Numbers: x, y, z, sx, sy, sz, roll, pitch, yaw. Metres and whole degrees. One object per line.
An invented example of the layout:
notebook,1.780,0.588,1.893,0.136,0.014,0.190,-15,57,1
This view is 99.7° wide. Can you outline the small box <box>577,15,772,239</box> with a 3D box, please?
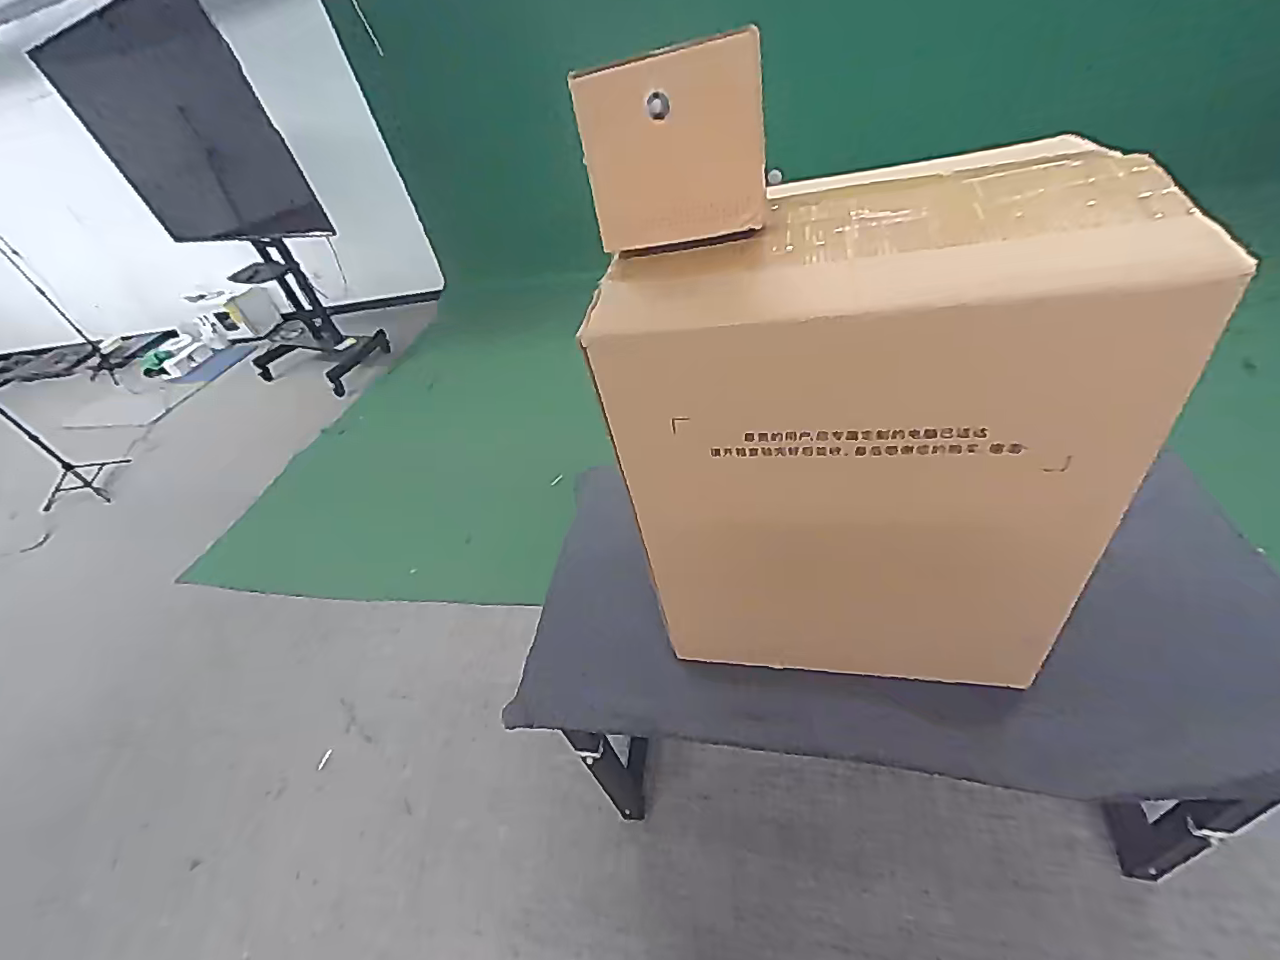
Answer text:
small box,0.052,-0.373,0.589,0.179,0.176,0.168,-1,36,14
